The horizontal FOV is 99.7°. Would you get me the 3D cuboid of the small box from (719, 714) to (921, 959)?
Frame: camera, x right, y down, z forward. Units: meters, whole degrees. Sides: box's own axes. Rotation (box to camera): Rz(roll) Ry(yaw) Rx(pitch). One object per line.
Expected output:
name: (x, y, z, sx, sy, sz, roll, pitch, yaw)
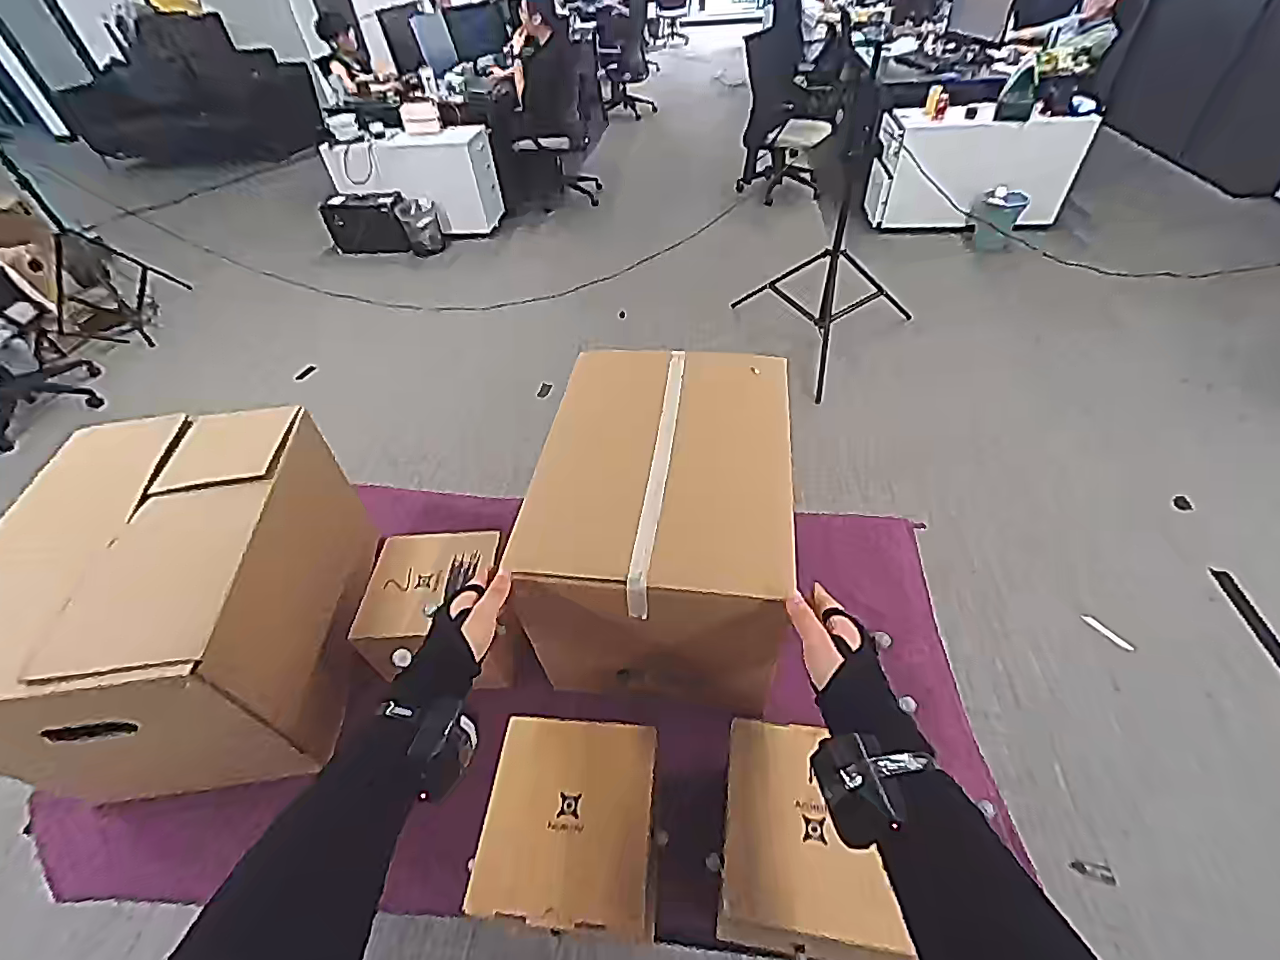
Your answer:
small box: (0.172, 0.376, 0.567, 0.168, 0.176, 0.179, 4, 45, 10)
